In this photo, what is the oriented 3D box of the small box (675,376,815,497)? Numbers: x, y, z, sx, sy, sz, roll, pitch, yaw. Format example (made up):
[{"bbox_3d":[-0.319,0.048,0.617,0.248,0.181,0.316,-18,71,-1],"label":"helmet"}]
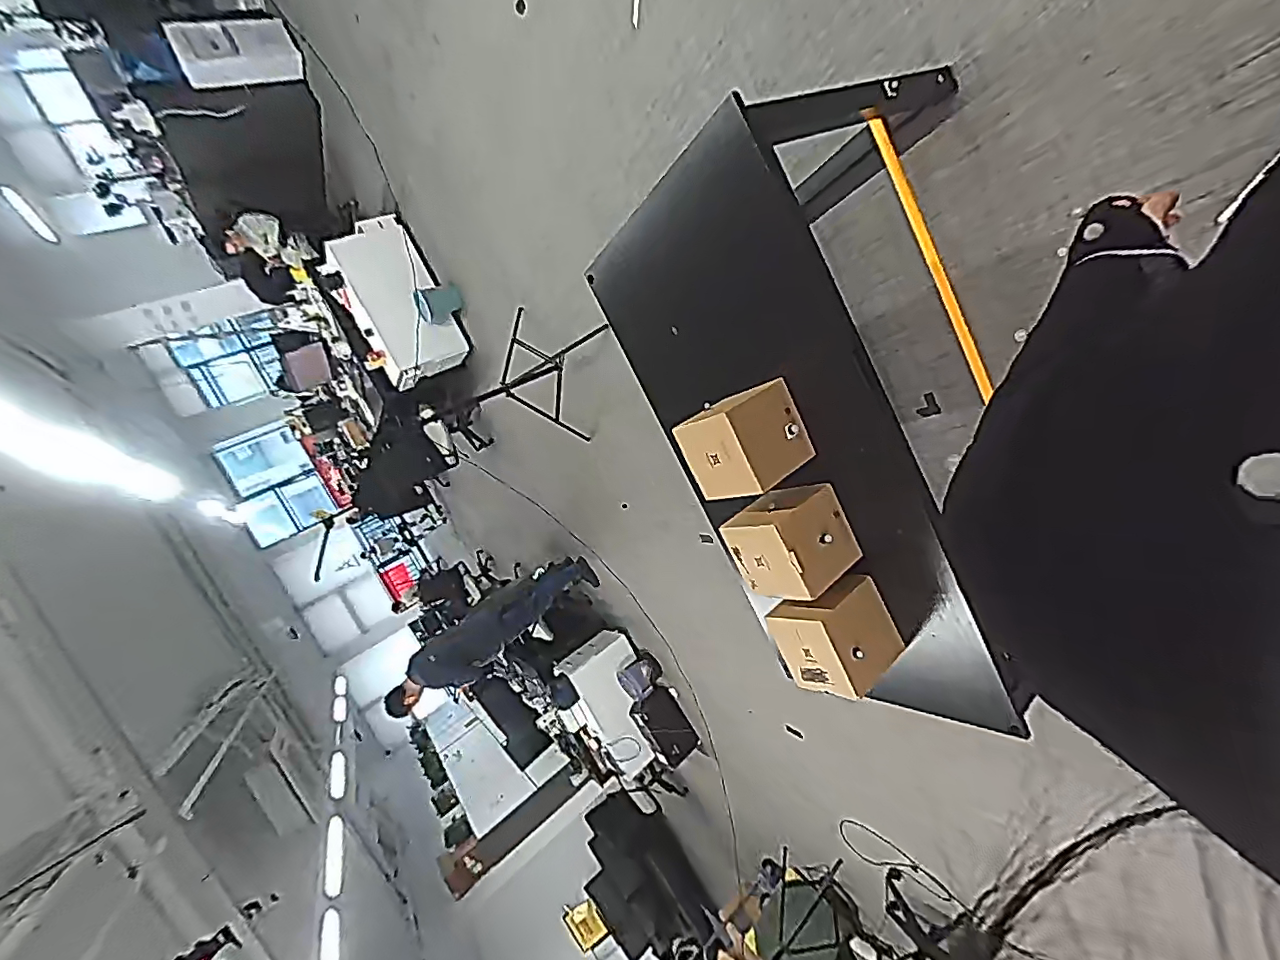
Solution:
[{"bbox_3d":[0.207,-0.082,1.065,0.179,0.176,0.168,-14,106,60],"label":"small box"}]

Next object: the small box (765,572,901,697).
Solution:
[{"bbox_3d":[0.402,0.310,1.119,0.168,0.176,0.179,-19,99,61],"label":"small box"}]
